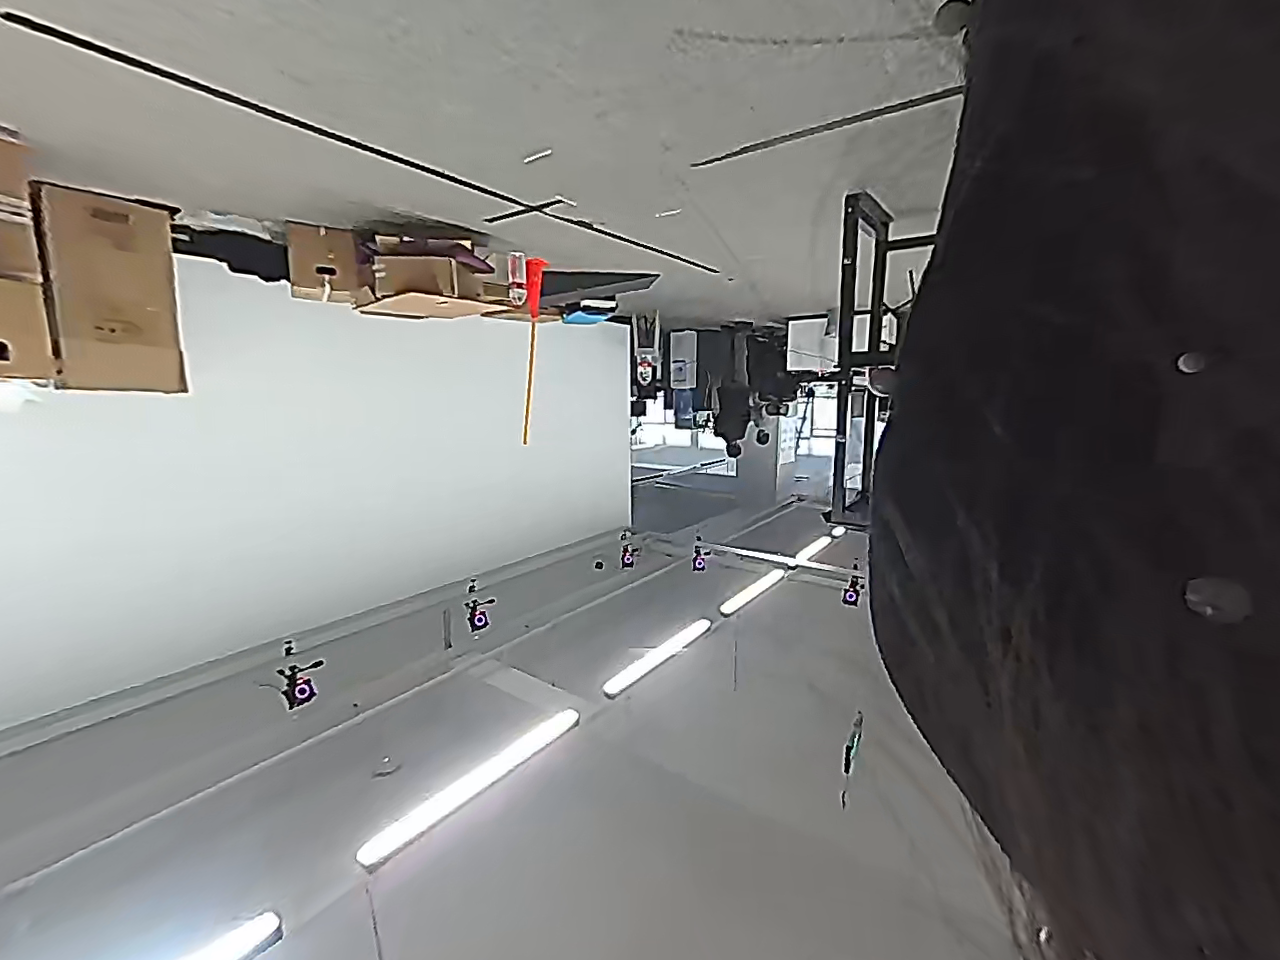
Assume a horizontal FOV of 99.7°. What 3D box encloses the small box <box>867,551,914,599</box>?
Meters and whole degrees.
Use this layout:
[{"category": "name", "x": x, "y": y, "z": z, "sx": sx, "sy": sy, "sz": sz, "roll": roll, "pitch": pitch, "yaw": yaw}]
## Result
[{"category": "small box", "x": 1.194, "y": 0.446, "z": 2.576, "sx": 0.179, "sy": 0.176, "sz": 0.168, "roll": 5, "pitch": -166, "yaw": 35}]
